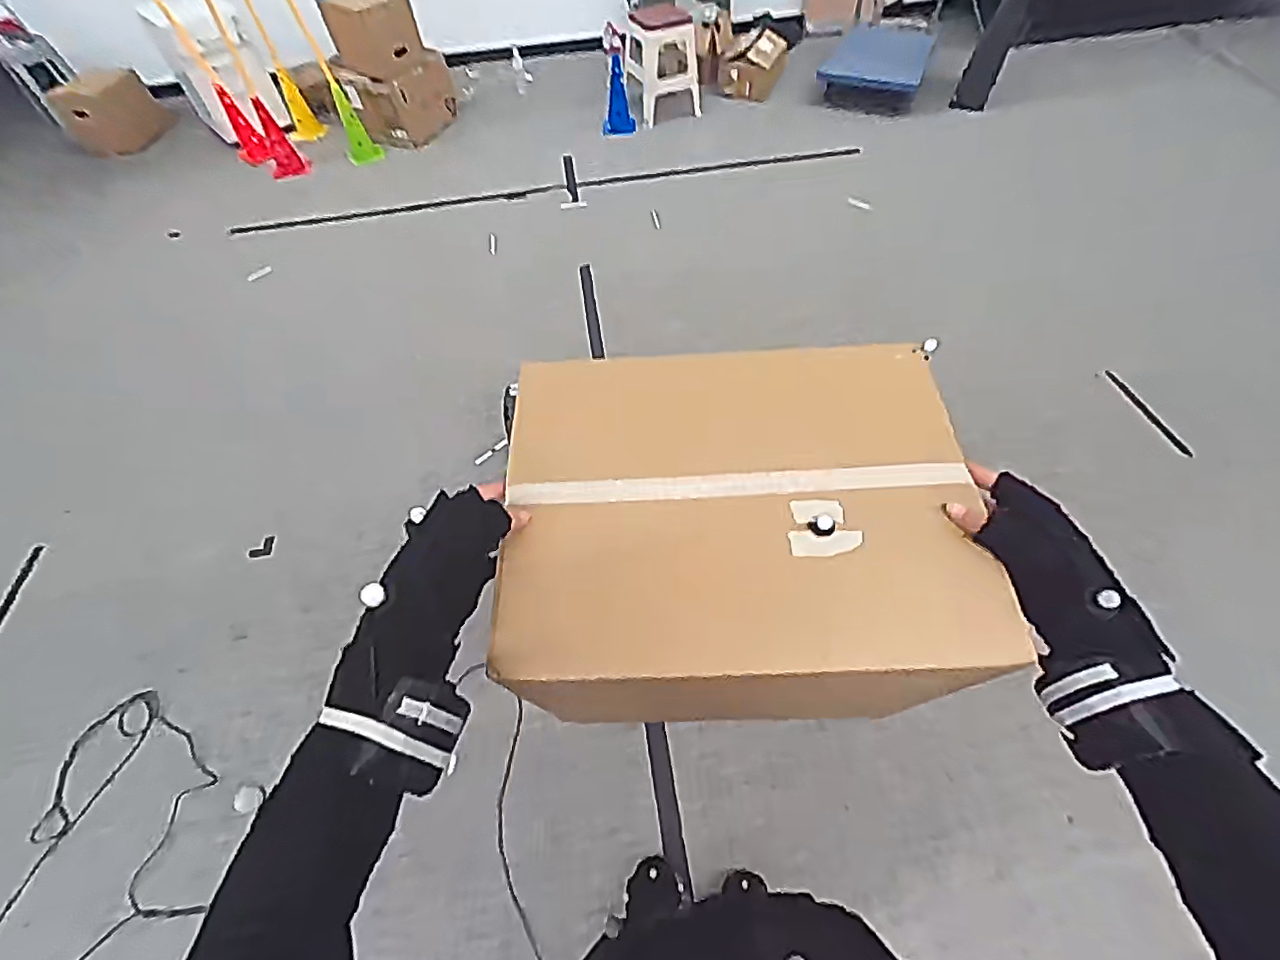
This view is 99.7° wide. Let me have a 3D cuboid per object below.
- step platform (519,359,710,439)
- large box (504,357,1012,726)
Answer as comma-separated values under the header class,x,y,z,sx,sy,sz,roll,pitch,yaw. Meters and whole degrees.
class,x,y,z,sx,sy,sz,roll,pitch,yaw
step platform,-0.062,-0.209,1.835,0.684,0.204,0.286,-11,55,-5
large box,0.090,0.089,0.620,0.408,0.320,0.320,-3,60,2
